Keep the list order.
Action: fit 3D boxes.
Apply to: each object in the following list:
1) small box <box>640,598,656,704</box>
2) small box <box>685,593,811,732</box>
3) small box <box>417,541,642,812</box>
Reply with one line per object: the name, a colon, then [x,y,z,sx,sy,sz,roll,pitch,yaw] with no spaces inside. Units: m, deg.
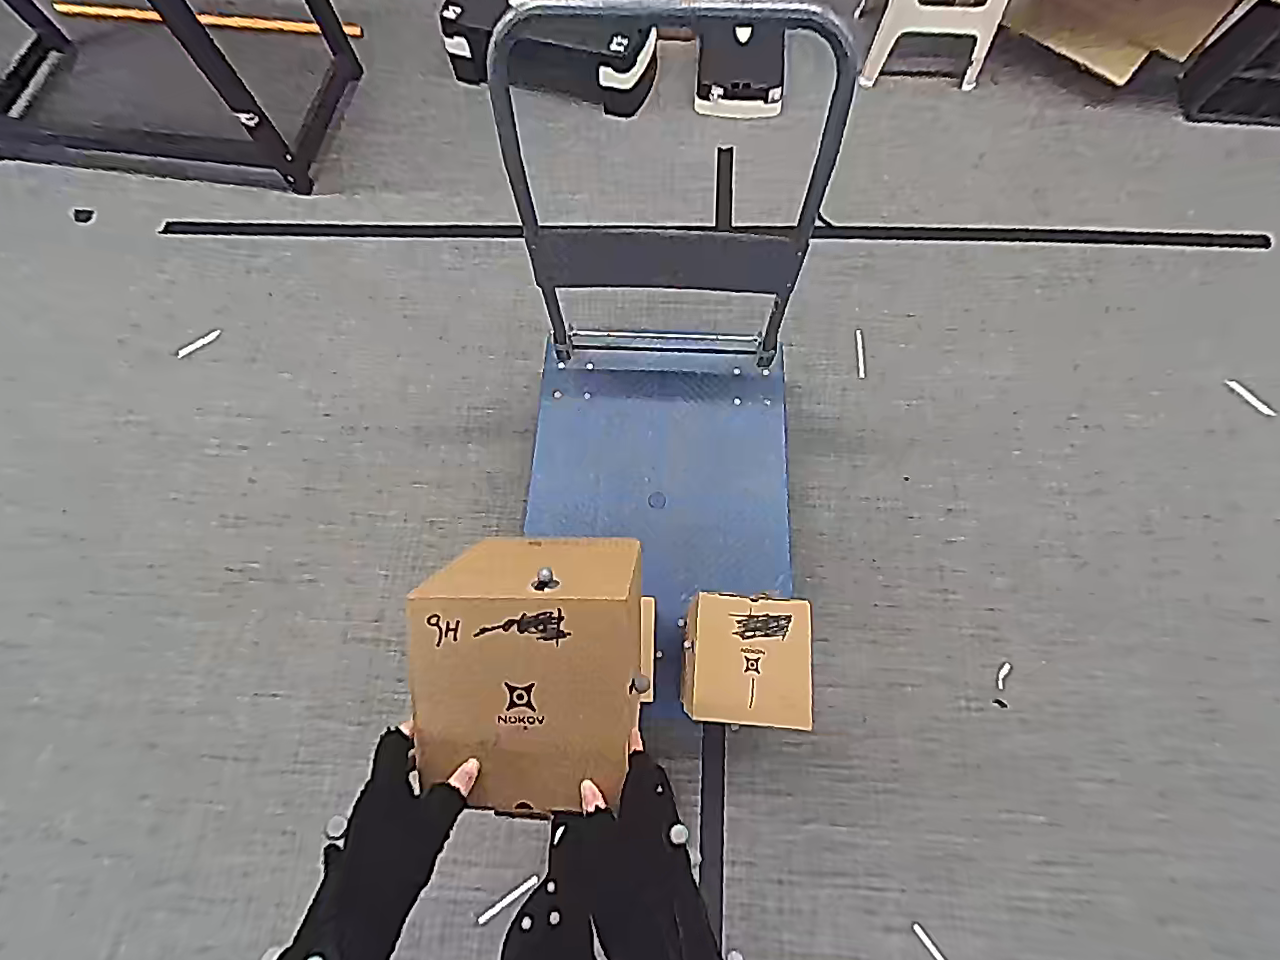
small box: [-0.056,0.315,1.008,0.168,0.176,0.179,2,71,1]
small box: [0.161,0.281,0.842,0.168,0.176,0.179,5,72,3]
small box: [-0.084,0.163,0.496,0.168,0.176,0.179,1,97,3]
